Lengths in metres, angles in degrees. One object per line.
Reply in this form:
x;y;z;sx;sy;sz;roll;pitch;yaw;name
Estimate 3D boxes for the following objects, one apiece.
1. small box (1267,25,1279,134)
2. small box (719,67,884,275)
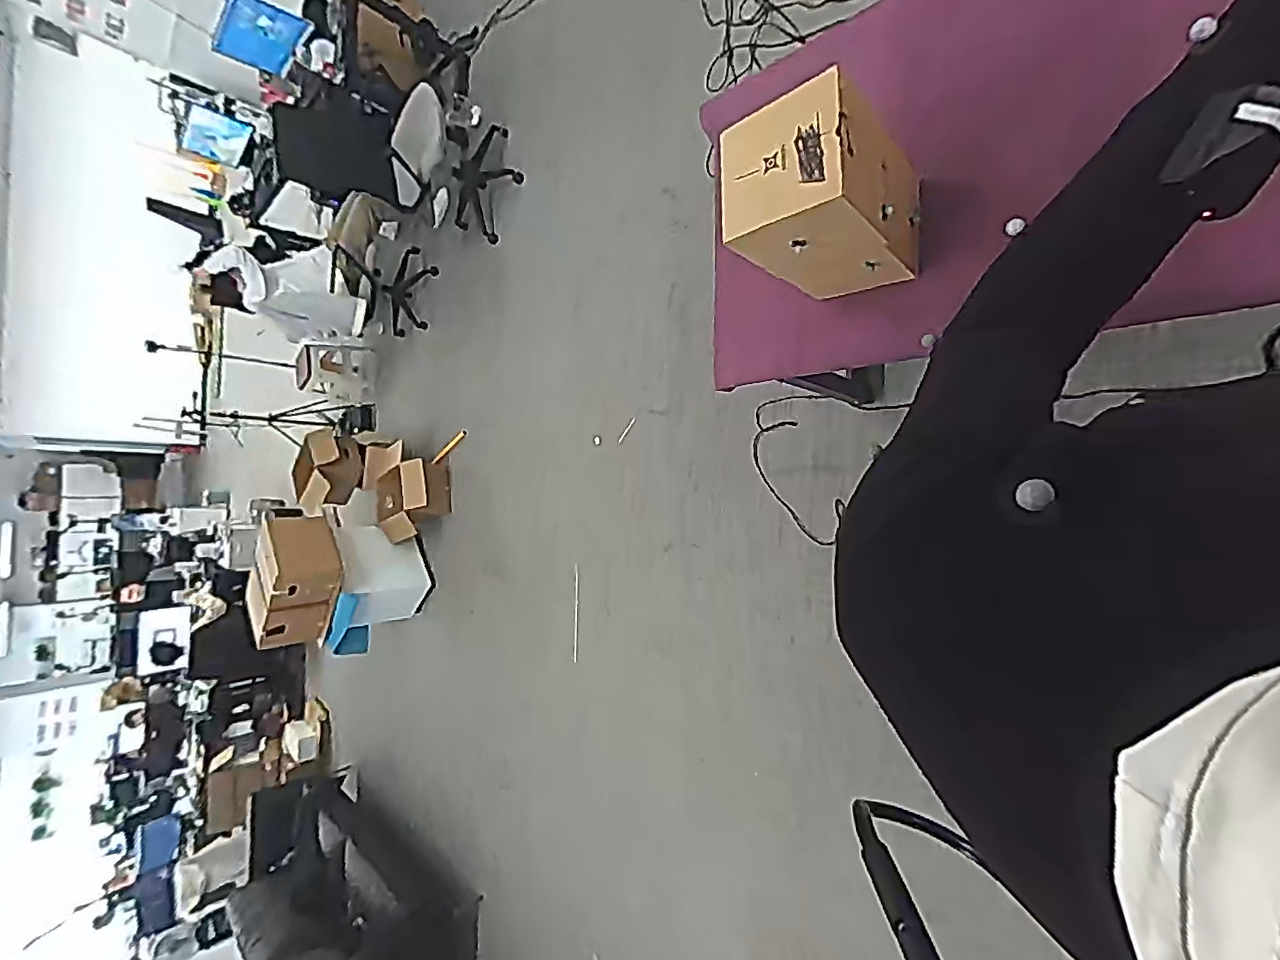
0.748;-0.473;0.512;0.179;0.176;0.168;6;93;44;small box
0.231;-0.411;0.759;0.179;0.176;0.168;-4;86;43;small box
